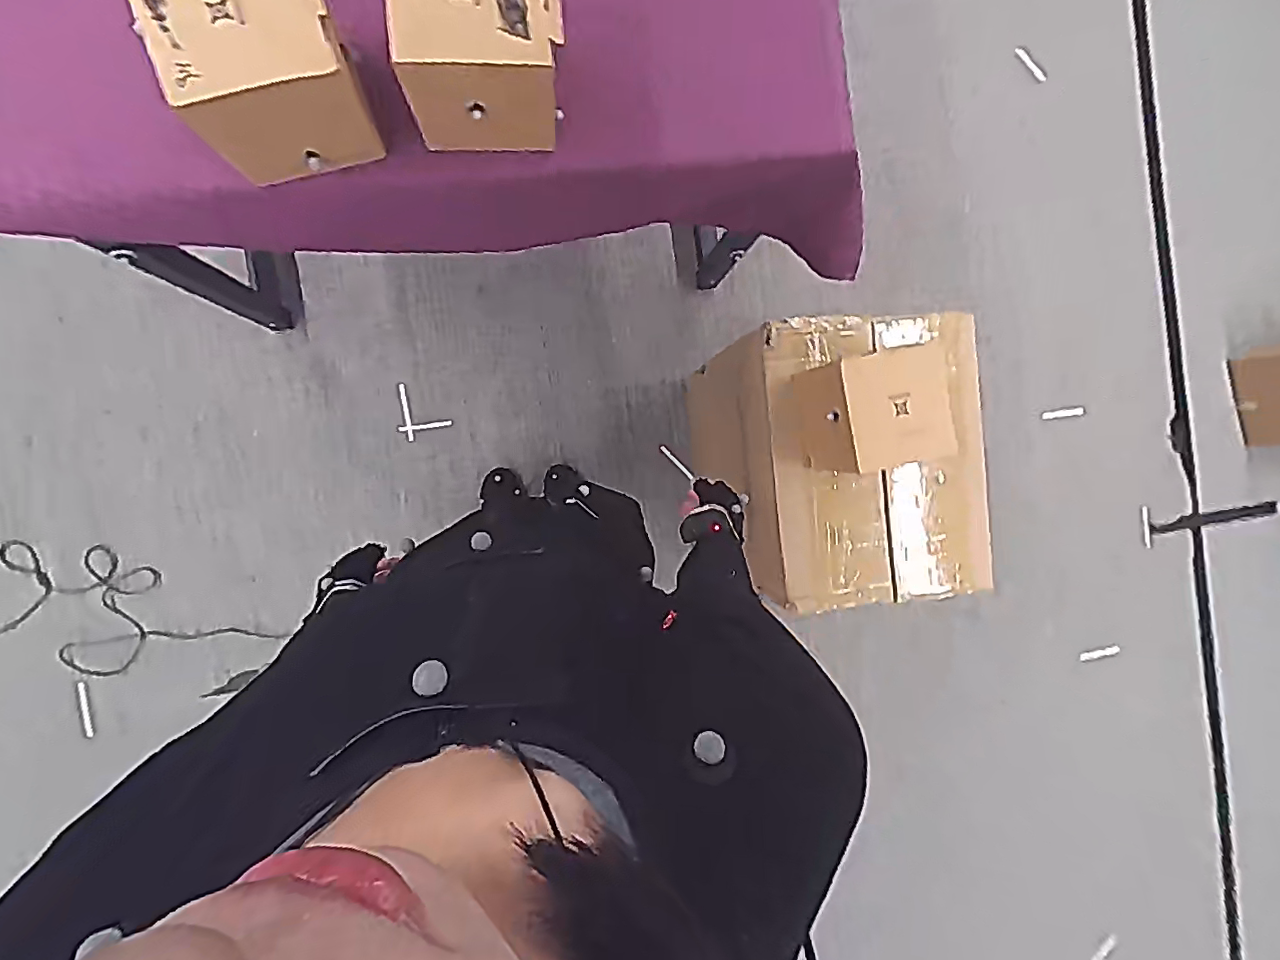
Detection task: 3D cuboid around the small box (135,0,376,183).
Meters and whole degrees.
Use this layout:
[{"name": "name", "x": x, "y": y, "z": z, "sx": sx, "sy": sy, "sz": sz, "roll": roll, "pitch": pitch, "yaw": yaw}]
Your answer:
[{"name": "small box", "x": -0.438, "y": -0.490, "z": 0.642, "sx": 0.179, "sy": 0.176, "sz": 0.168, "roll": -19, "pitch": 93, "yaw": -9}]

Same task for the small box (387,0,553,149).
[{"name": "small box", "x": -0.201, "y": -0.543, "z": 0.676, "sx": 0.179, "sy": 0.176, "sz": 0.168, "roll": -5, "pitch": 91, "yaw": -7}]

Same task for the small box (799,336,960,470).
[{"name": "small box", "x": 0.376, "y": -0.117, "z": 0.877, "sx": 0.168, "sy": 0.176, "sz": 0.179, "roll": -13, "pitch": 94, "yaw": -5}]
